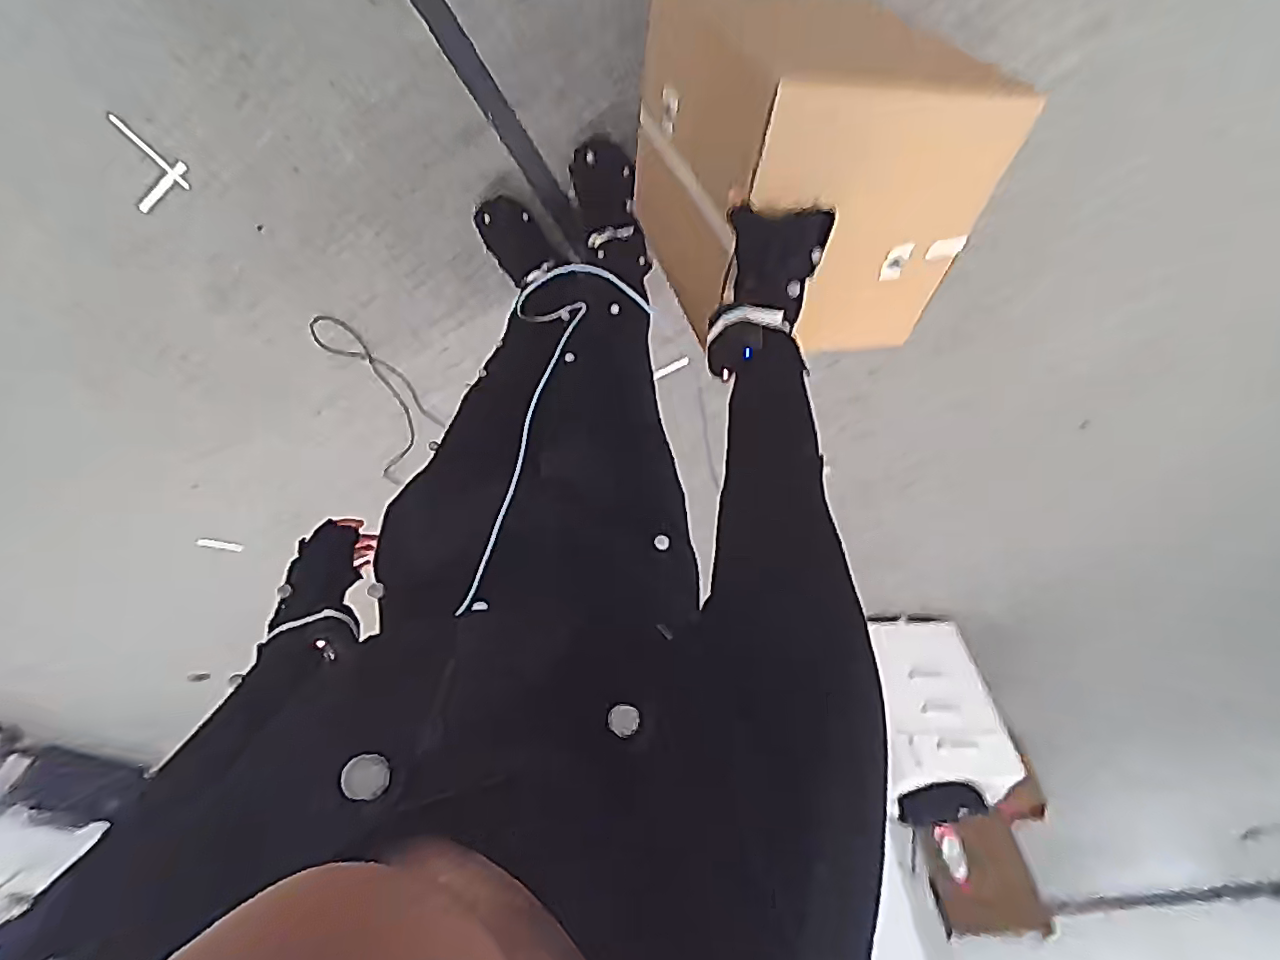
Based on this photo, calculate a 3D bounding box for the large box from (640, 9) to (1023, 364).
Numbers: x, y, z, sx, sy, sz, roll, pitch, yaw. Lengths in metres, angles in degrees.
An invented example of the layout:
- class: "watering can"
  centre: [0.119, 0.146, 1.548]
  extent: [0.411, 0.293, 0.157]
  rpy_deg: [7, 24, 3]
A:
- class: "large box"
  centre: [0.206, -0.417, 0.765]
  extent: [0.320, 0.408, 0.320]
  rpy_deg: [-7, 142, -13]
